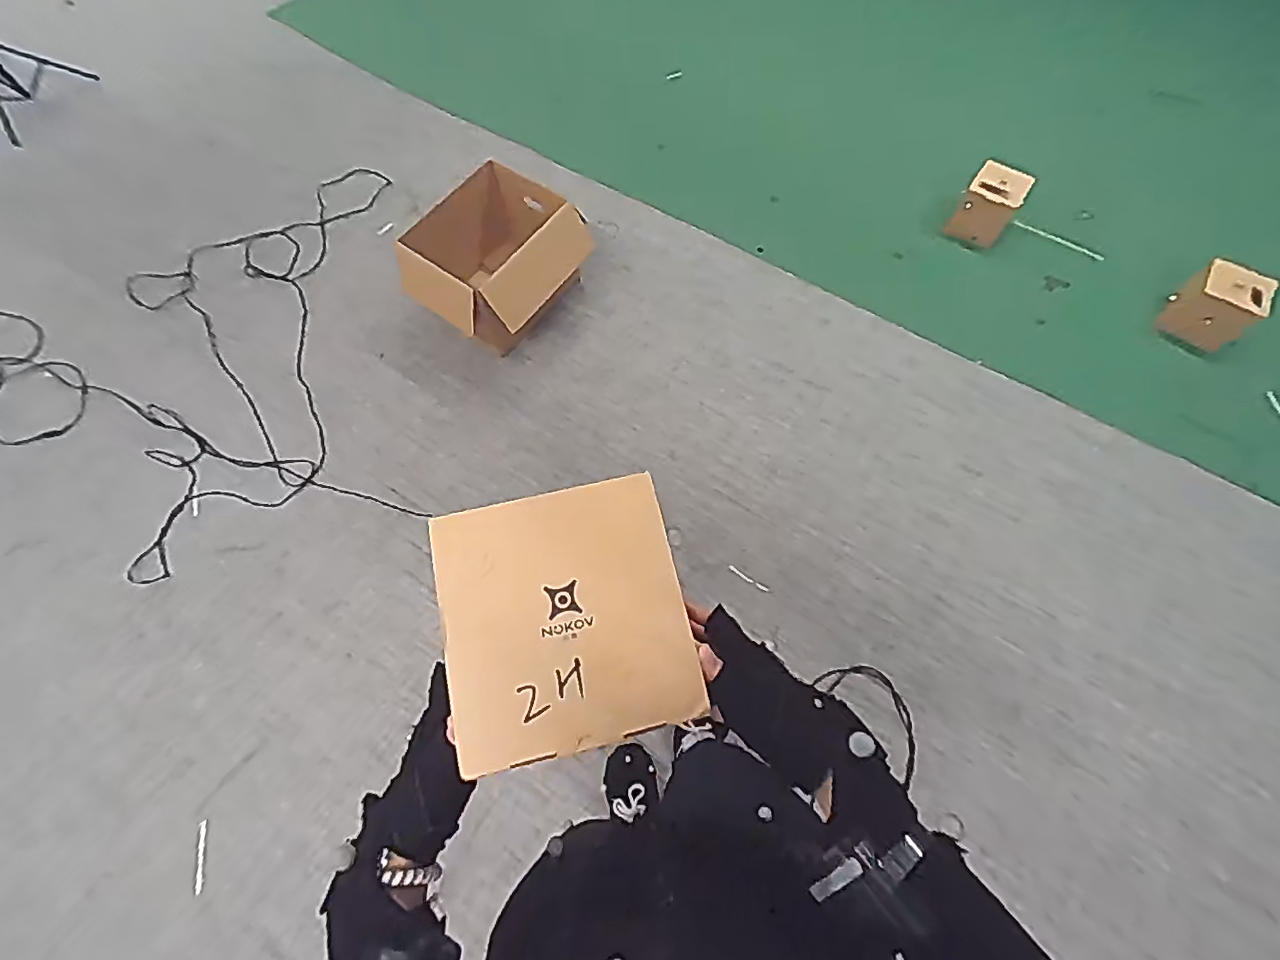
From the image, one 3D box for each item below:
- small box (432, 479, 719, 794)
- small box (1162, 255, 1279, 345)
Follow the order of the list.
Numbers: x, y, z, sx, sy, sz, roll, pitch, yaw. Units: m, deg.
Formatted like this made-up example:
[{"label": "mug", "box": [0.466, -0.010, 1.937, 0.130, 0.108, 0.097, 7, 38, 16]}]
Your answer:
[{"label": "small box", "box": [-0.051, 0.119, 0.434, 0.168, 0.176, 0.179, -12, 73, -6]}, {"label": "small box", "box": [1.776, -0.541, 1.653, 0.179, 0.176, 0.168, 33, 71, 14]}]
